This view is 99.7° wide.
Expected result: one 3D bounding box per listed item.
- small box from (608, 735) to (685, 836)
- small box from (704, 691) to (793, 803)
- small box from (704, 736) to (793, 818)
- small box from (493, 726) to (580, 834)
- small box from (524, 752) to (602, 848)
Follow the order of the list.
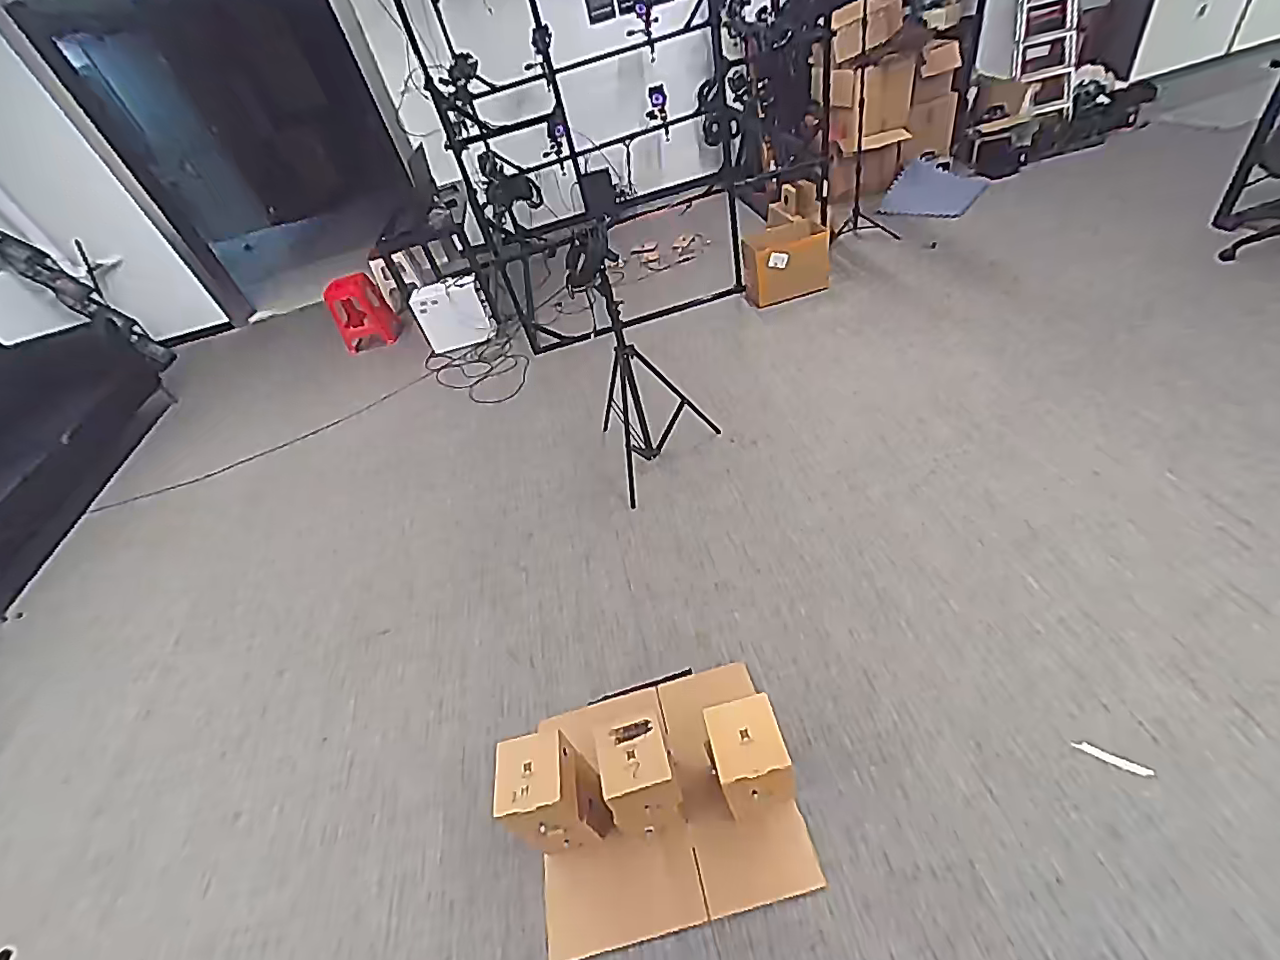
[{"bbox_3d":[0.017,0.818,1.445,0.168,0.176,0.179,-14,42,2],"label":"small box"},{"bbox_3d":[0.260,0.646,1.307,0.168,0.176,0.179,-16,43,1],"label":"small box"},{"bbox_3d":[0.289,0.755,1.425,0.179,0.176,0.168,-23,43,-7],"label":"small box"},{"bbox_3d":[-0.254,0.753,1.355,0.168,0.176,0.179,-15,43,3],"label":"small box"},{"bbox_3d":[-0.206,0.872,1.461,0.168,0.176,0.179,-16,43,2],"label":"small box"}]
